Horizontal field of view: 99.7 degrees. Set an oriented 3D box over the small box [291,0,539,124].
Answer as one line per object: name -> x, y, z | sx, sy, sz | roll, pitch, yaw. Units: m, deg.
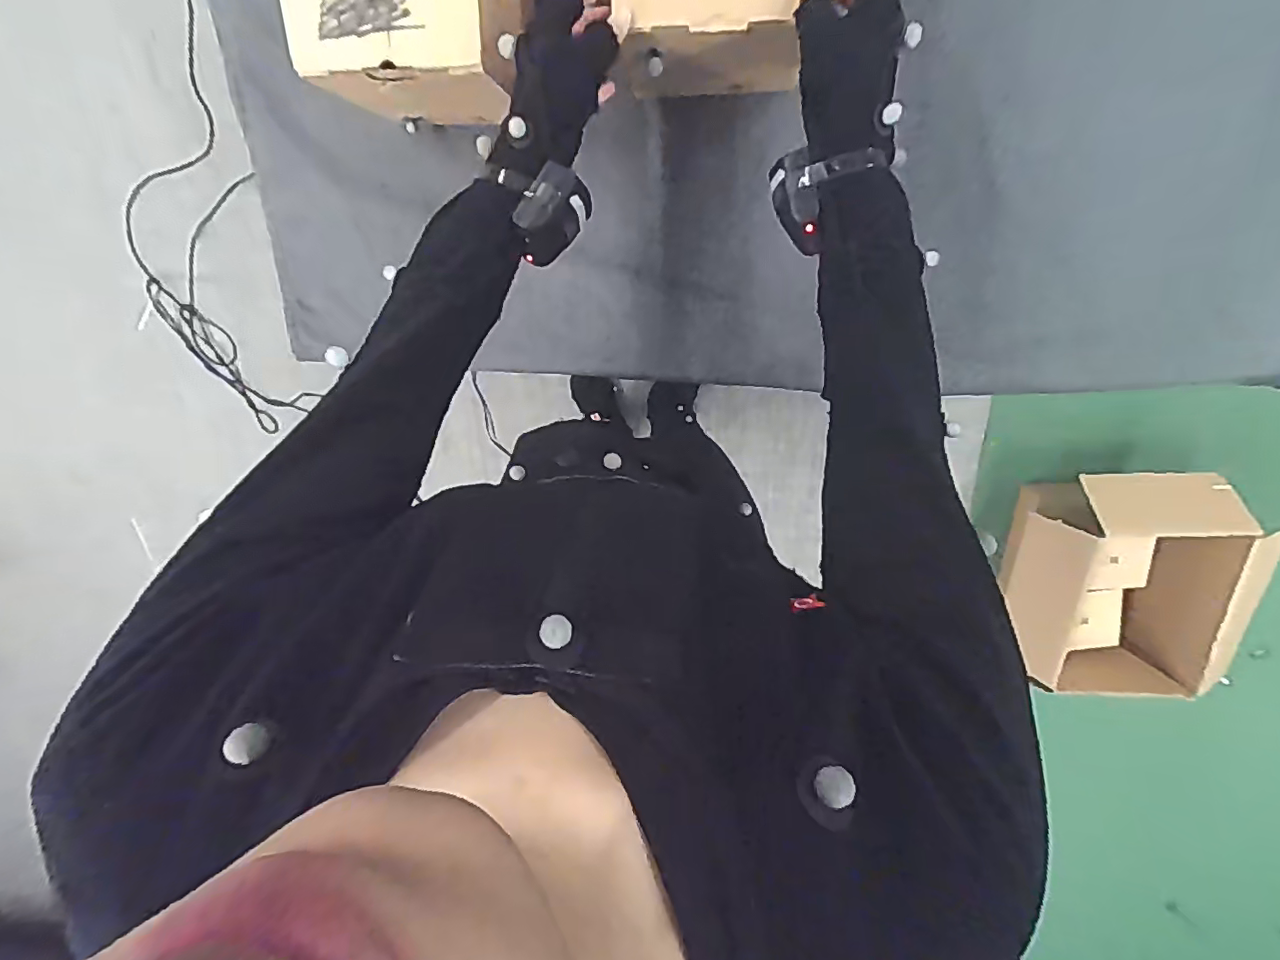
small box -> -0.195, -0.446, 0.497 | 0.168, 0.176, 0.179 | 2, 110, 4
